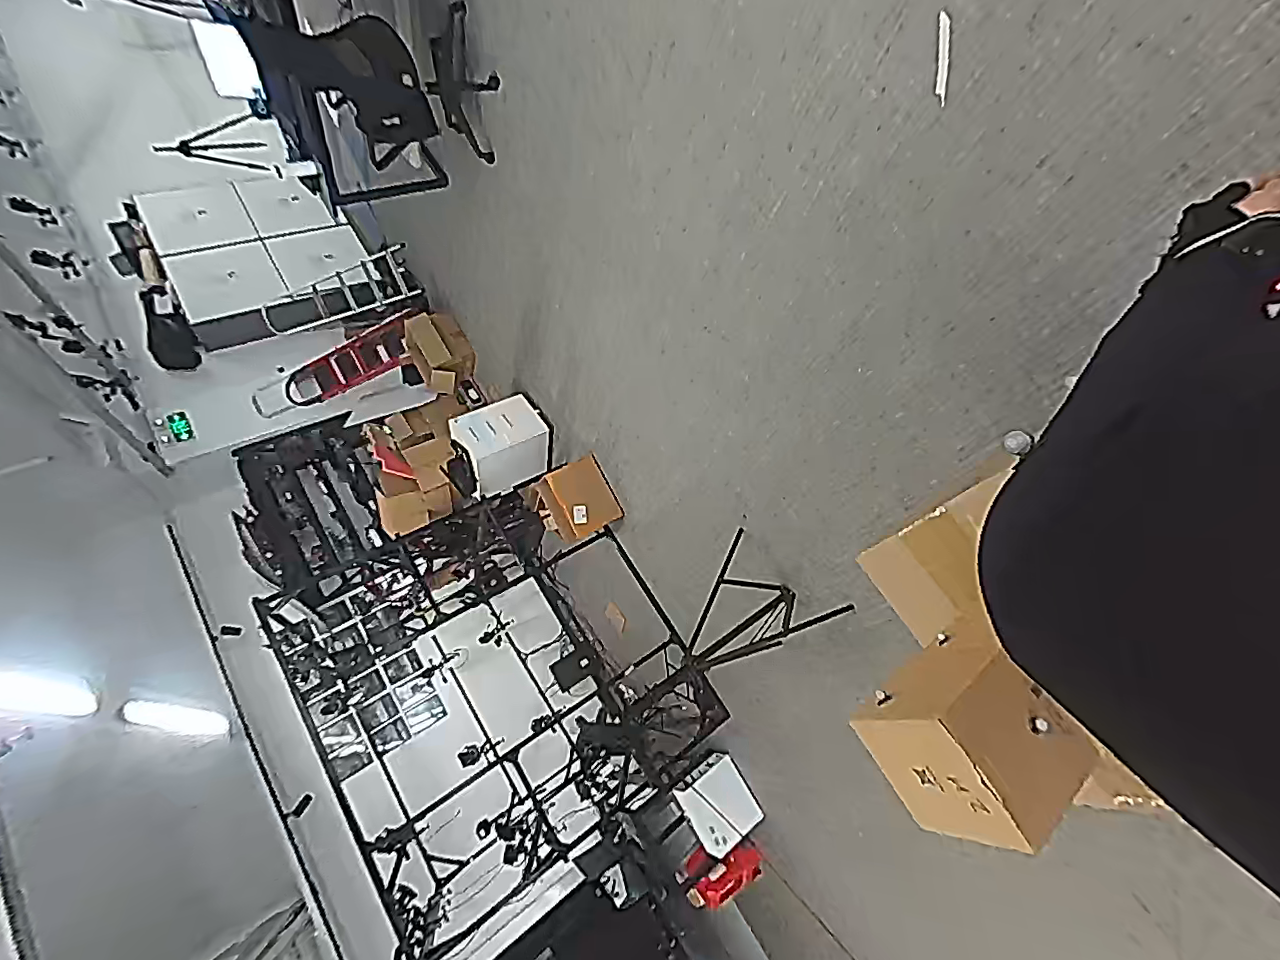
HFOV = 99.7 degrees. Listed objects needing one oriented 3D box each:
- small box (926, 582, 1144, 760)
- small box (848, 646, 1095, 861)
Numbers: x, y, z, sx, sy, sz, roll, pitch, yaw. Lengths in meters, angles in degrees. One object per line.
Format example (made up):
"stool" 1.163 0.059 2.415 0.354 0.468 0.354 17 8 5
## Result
"small box" 0.552 0.267 0.763 0.168 0.176 0.179 56 153 13
"small box" 0.418 0.335 0.695 0.168 0.176 0.179 56 153 11
